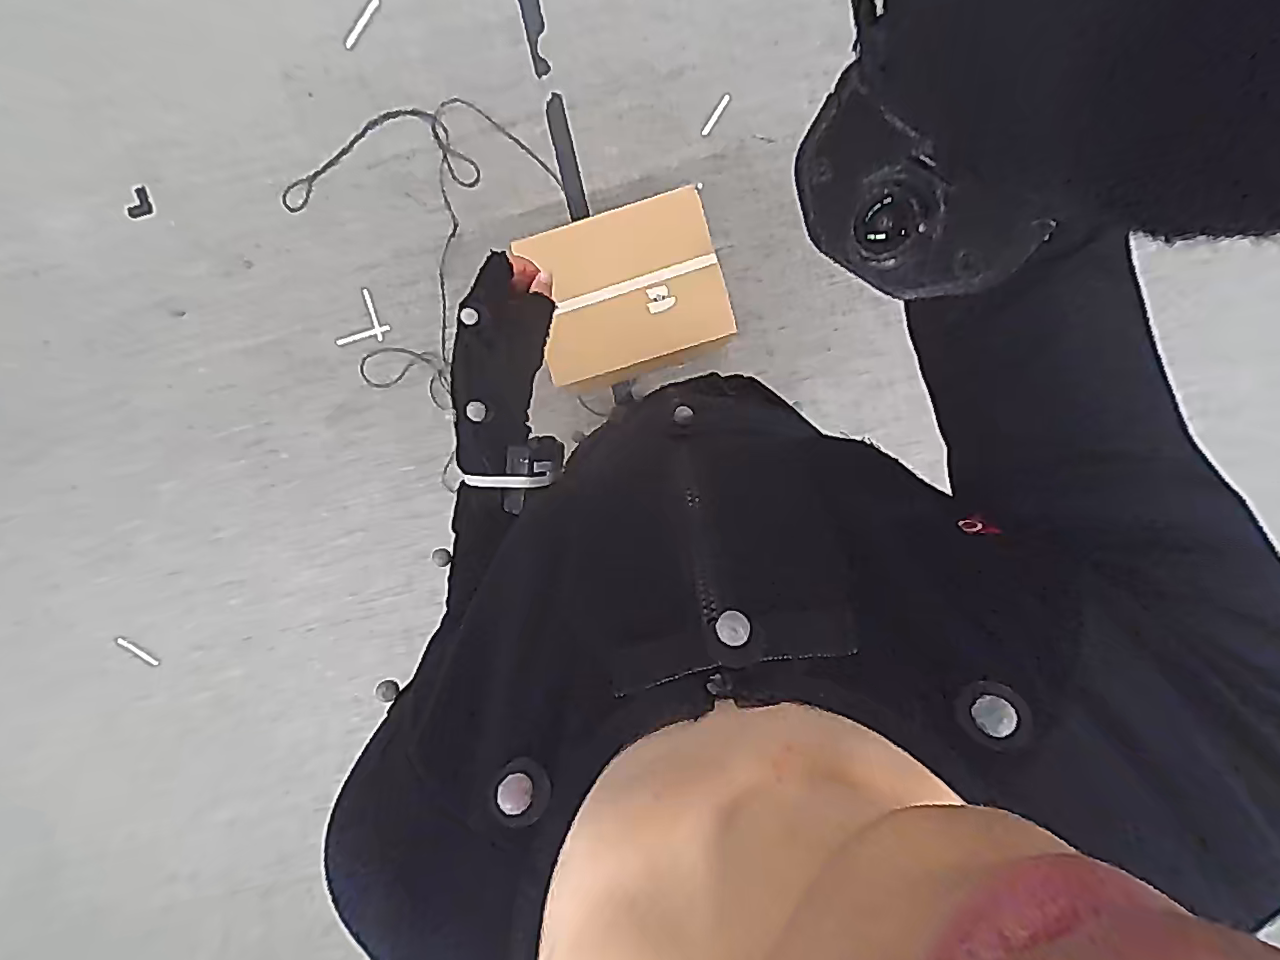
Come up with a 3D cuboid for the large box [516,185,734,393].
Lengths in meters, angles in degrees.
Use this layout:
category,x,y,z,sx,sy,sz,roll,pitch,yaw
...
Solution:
category,x,y,z,sx,sy,sz,roll,pitch,yaw
large box,-0.027,-0.421,1.286,0.408,0.320,0.320,-17,96,4
